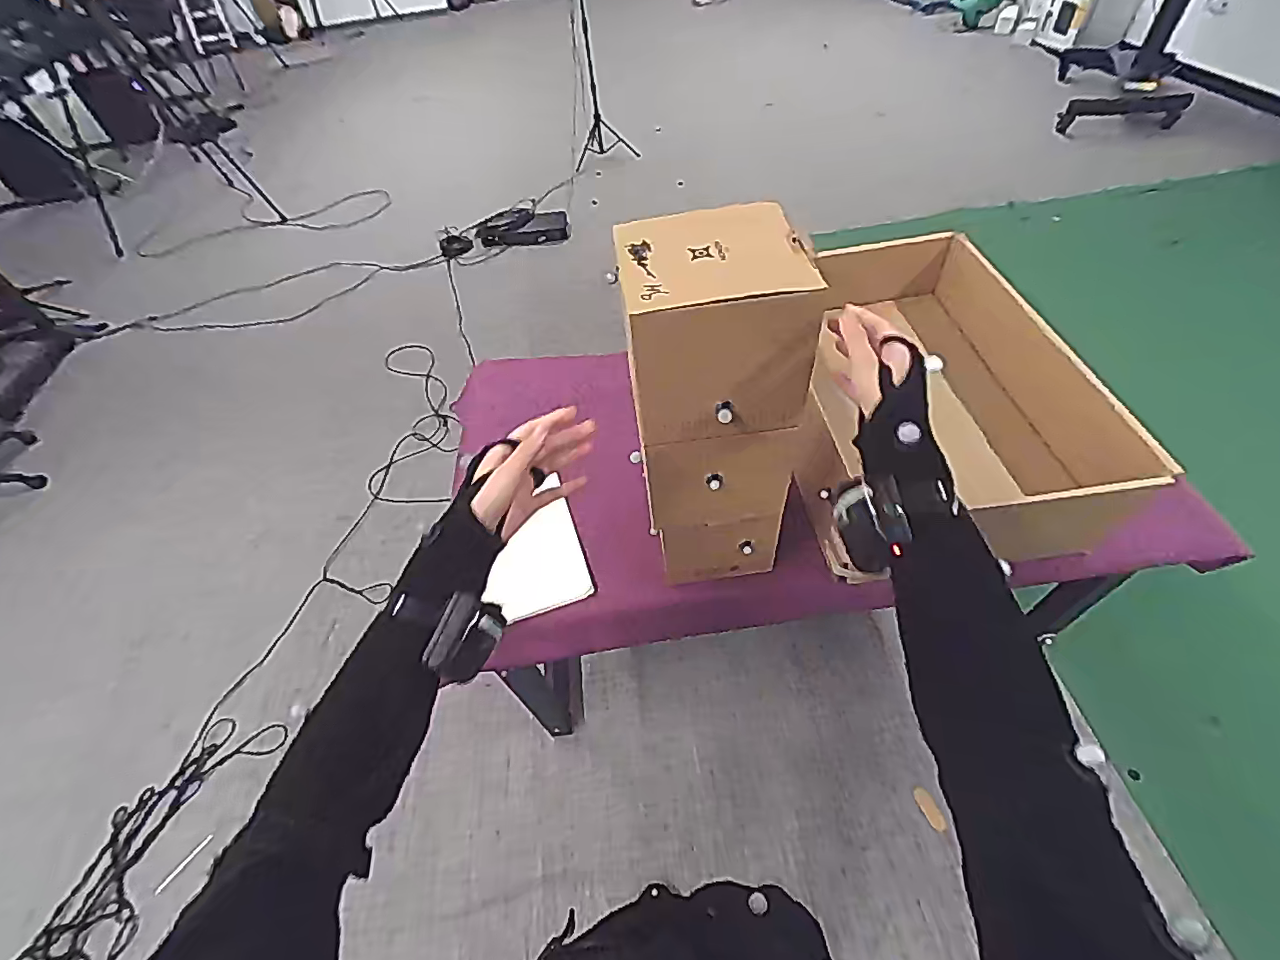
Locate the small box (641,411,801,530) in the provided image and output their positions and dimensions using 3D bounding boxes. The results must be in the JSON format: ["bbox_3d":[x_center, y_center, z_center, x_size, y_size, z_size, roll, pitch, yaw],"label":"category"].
[{"bbox_3d":[0.091,-0.054,0.699,0.179,0.176,0.168,-8,50,1],"label":"small box"}]

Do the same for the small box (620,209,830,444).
[{"bbox_3d":[0.076,-0.158,0.572,0.179,0.176,0.168,-7,49,0],"label":"small box"}]

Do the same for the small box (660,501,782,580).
[{"bbox_3d":[0.111,0.040,0.832,0.168,0.176,0.179,-7,50,0],"label":"small box"}]
